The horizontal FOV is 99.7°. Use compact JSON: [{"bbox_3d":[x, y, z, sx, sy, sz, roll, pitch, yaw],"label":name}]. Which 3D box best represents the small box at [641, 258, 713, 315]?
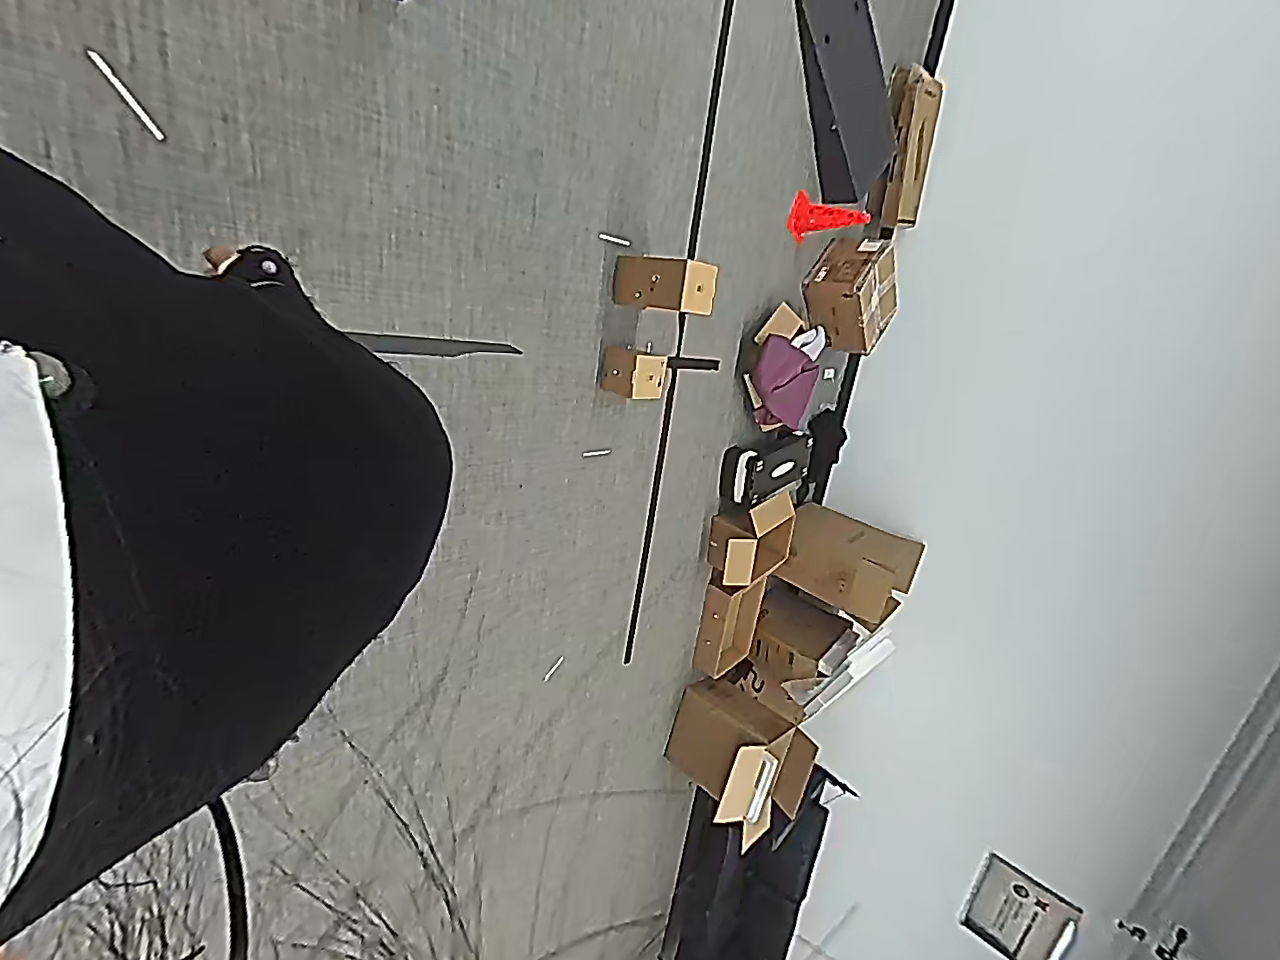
[{"bbox_3d":[0.128,-0.678,1.890,0.179,0.176,0.168,-12,116,-45],"label":"small box"}]

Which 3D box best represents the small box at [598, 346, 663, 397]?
[{"bbox_3d":[-0.041,-0.419,2.092,0.179,0.176,0.168,-9,116,-47],"label":"small box"}]

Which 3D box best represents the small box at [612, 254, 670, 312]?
[{"bbox_3d":[0.012,-0.727,1.994,0.168,0.176,0.179,-14,118,-46],"label":"small box"}]
